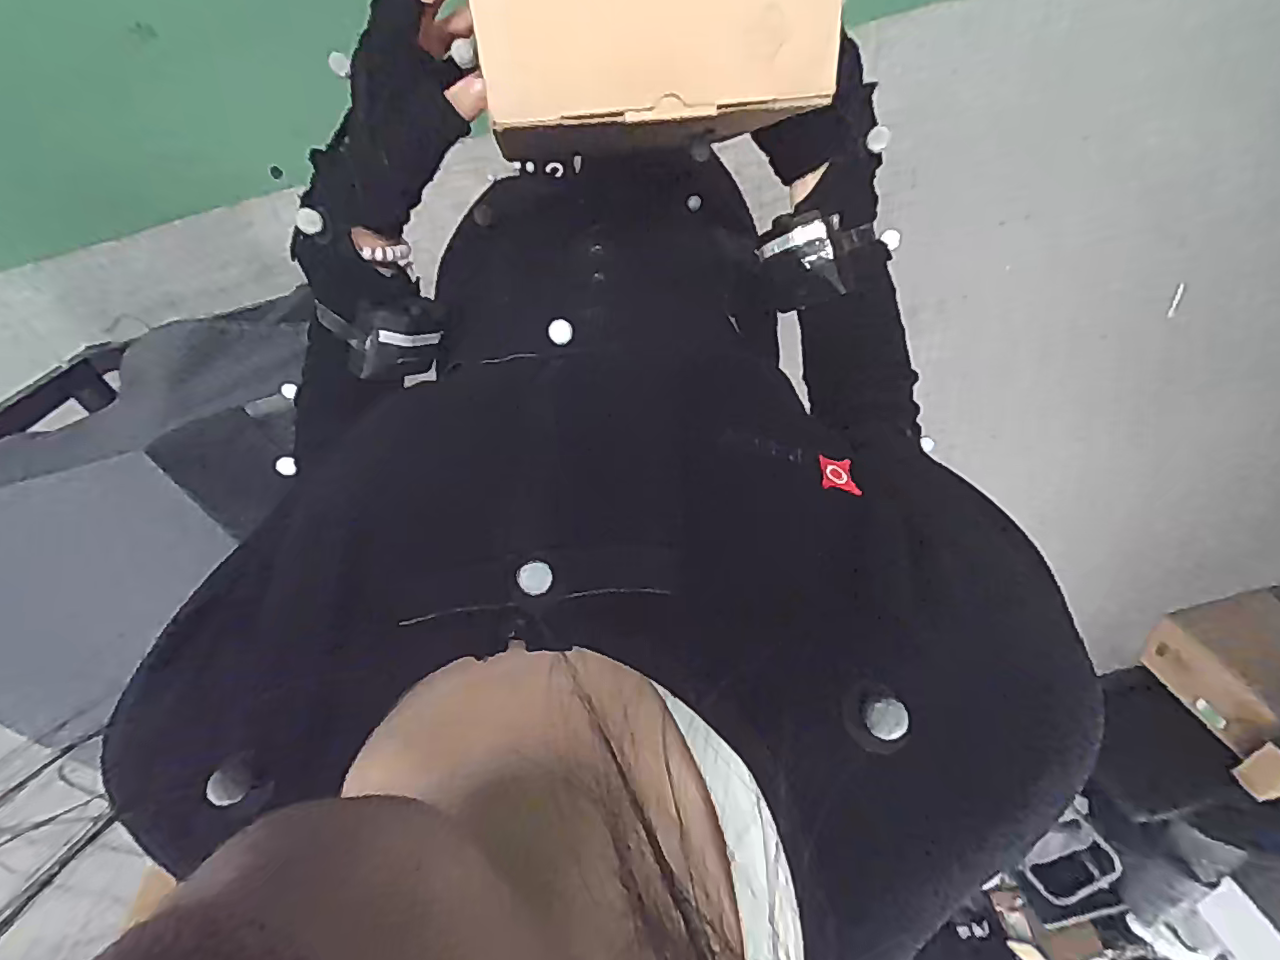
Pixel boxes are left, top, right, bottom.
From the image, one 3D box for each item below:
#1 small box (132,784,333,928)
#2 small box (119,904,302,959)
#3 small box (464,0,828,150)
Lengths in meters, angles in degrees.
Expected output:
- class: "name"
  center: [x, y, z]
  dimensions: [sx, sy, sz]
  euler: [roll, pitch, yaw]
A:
- class: "small box"
  center: [-0.655, 0.639, 0.898]
  dimensions: [0.179, 0.176, 0.168]
  euler: [-16, 128, 1]
- class: "small box"
  center: [-0.628, 0.735, 0.767]
  dimensions: [0.168, 0.176, 0.179]
  euler: [-14, 128, 1]
- class: "small box"
  center: [-0.011, -0.285, 0.288]
  dimensions: [0.168, 0.176, 0.179]
  euler: [-10, 118, -7]
